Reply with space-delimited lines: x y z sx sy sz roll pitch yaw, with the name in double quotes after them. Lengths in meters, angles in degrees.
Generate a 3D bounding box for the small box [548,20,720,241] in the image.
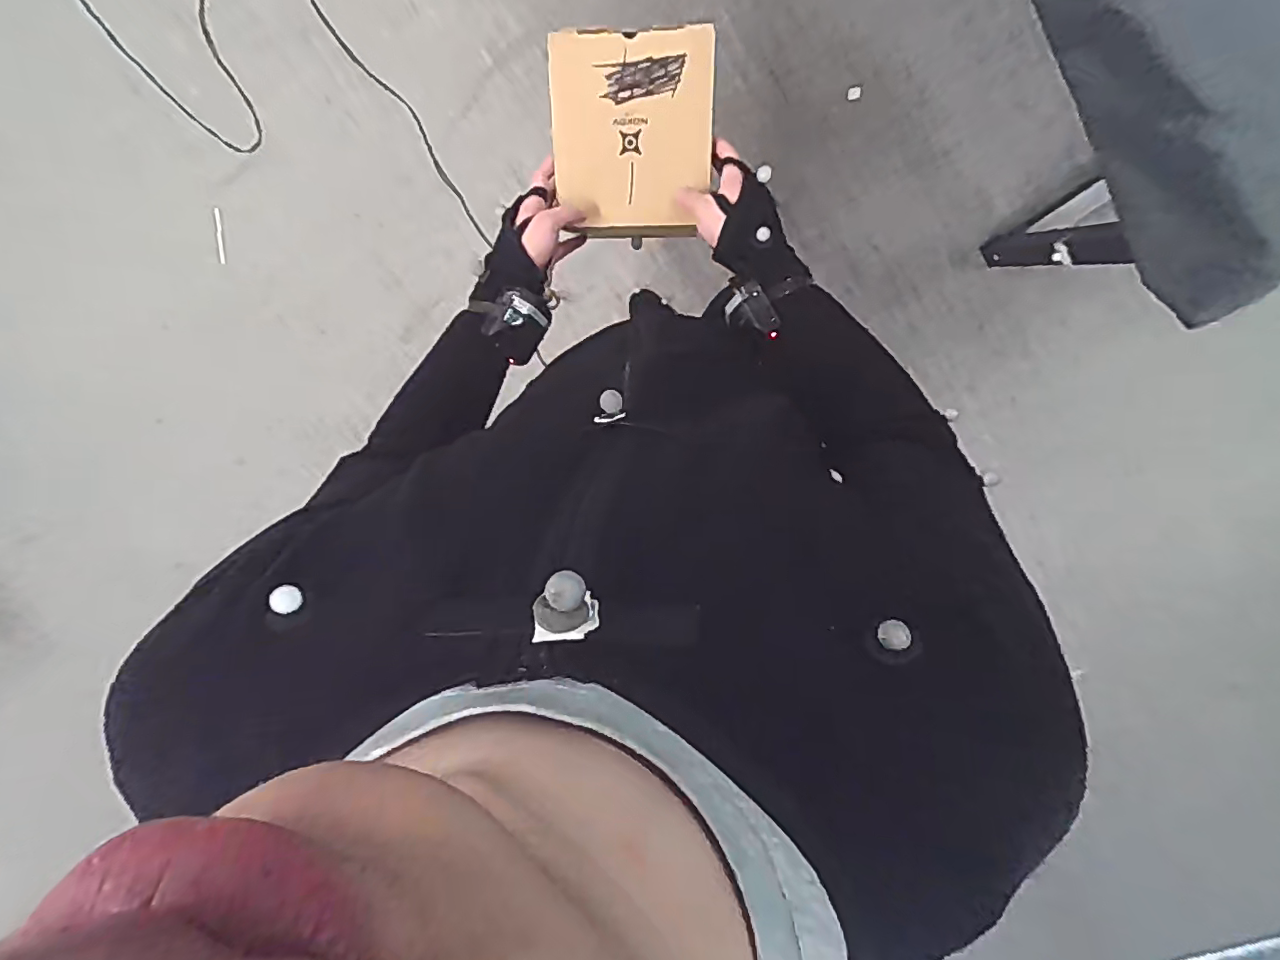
-0.001 -0.372 0.609 0.168 0.176 0.179 1 110 5 "small box"

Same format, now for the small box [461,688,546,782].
-0.407 0.775 1.660 0.179 0.176 0.168 -33 103 18 "small box"

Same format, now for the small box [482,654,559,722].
-0.389 0.719 1.812 0.179 0.176 0.168 -34 103 16 "small box"
